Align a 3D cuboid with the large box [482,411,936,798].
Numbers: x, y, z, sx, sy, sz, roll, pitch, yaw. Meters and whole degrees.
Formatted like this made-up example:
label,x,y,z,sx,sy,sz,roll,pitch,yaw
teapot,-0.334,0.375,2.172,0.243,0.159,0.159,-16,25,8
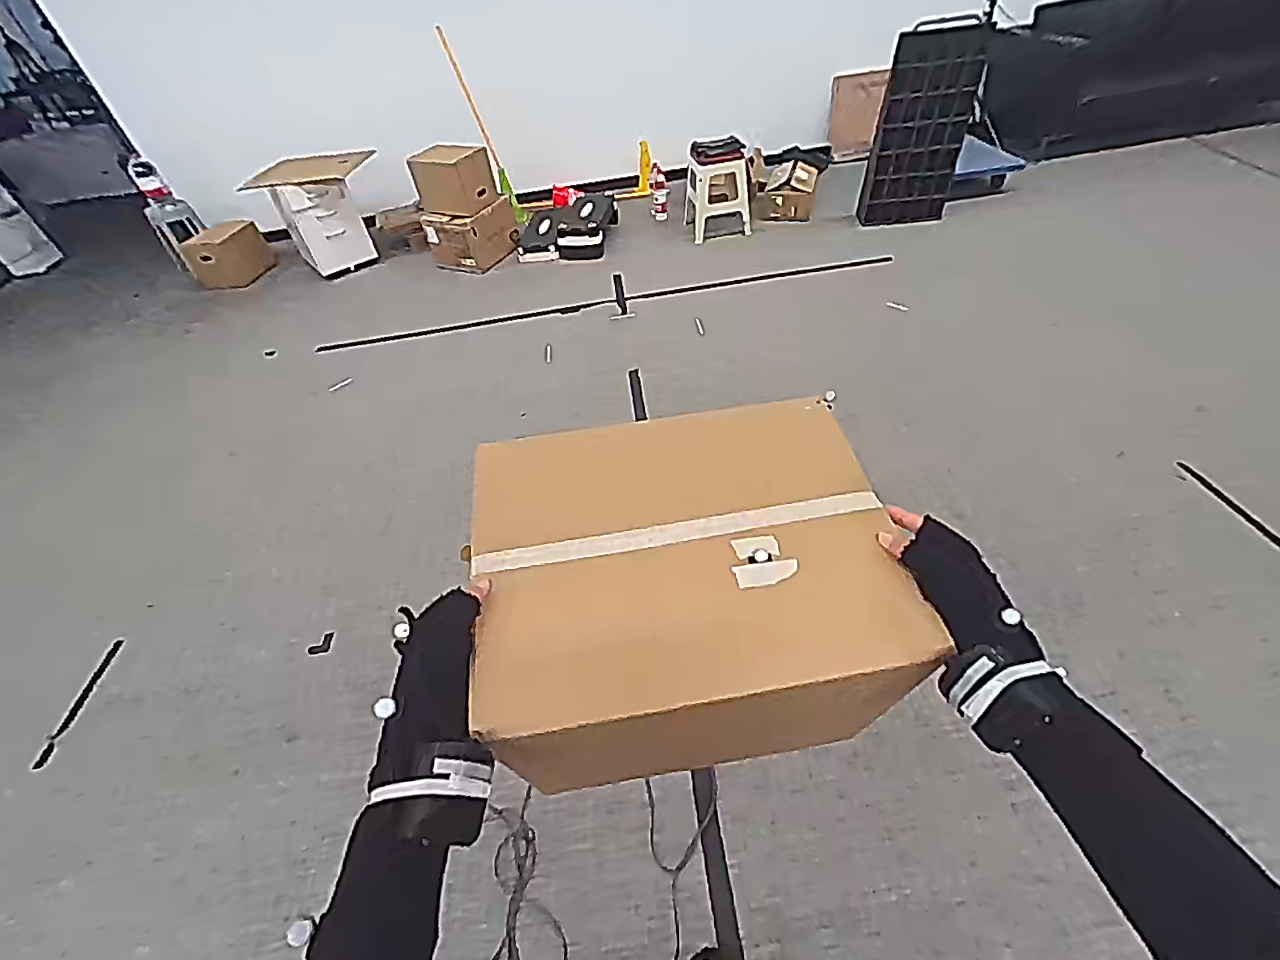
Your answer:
label,x,y,z,sx,sy,sz,roll,pitch,yaw
large box,0.045,0.158,0.664,0.408,0.320,0.320,-9,54,-4
